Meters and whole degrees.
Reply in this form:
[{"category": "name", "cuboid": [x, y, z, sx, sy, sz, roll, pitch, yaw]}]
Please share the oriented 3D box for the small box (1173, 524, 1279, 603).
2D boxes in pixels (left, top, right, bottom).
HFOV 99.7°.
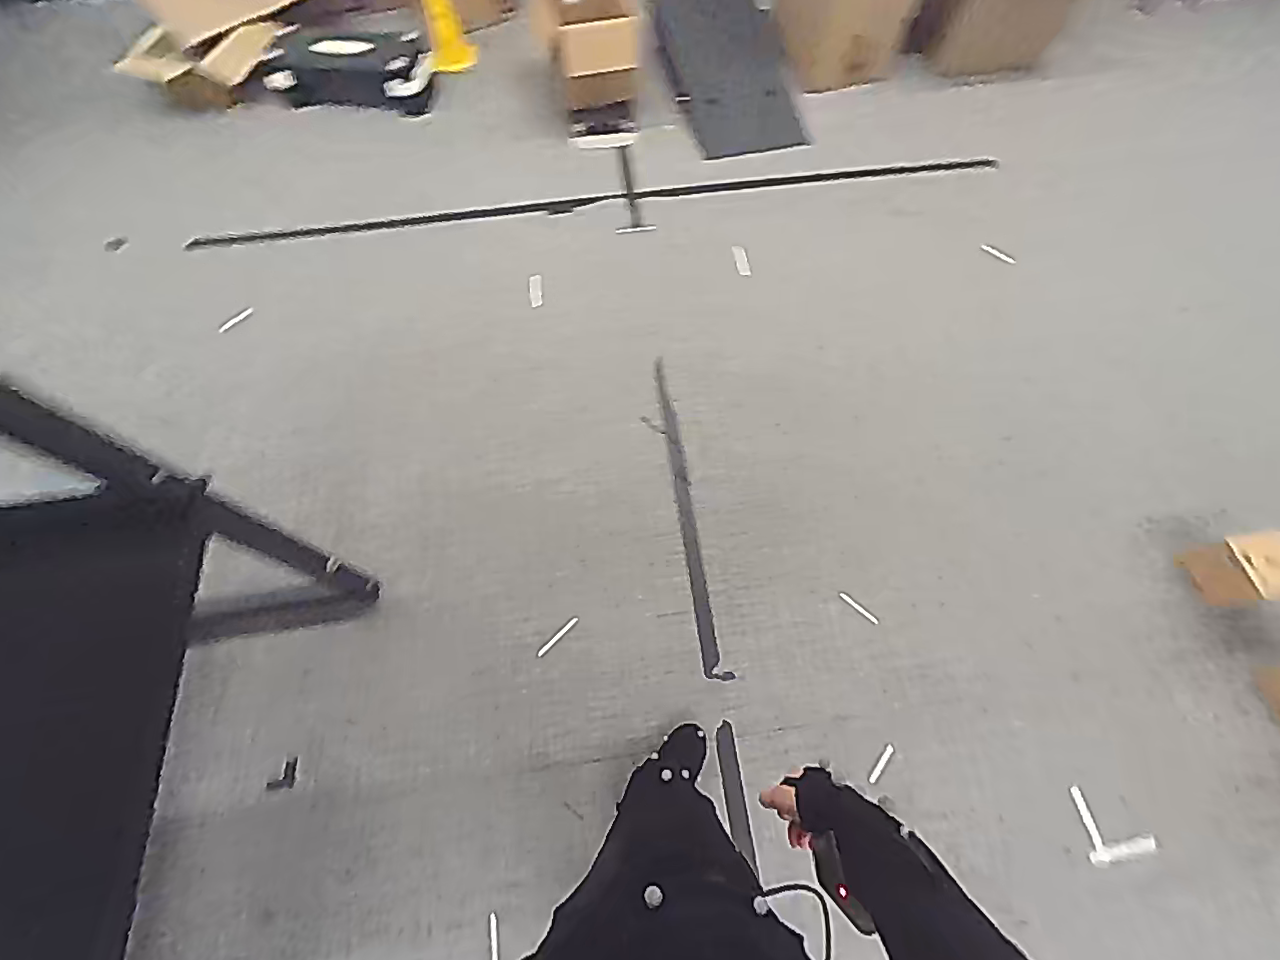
[{"category": "small box", "cuboid": [1.681, 0.237, 1.514, 0.179, 0.176, 0.168, -8, 65, -5]}]
